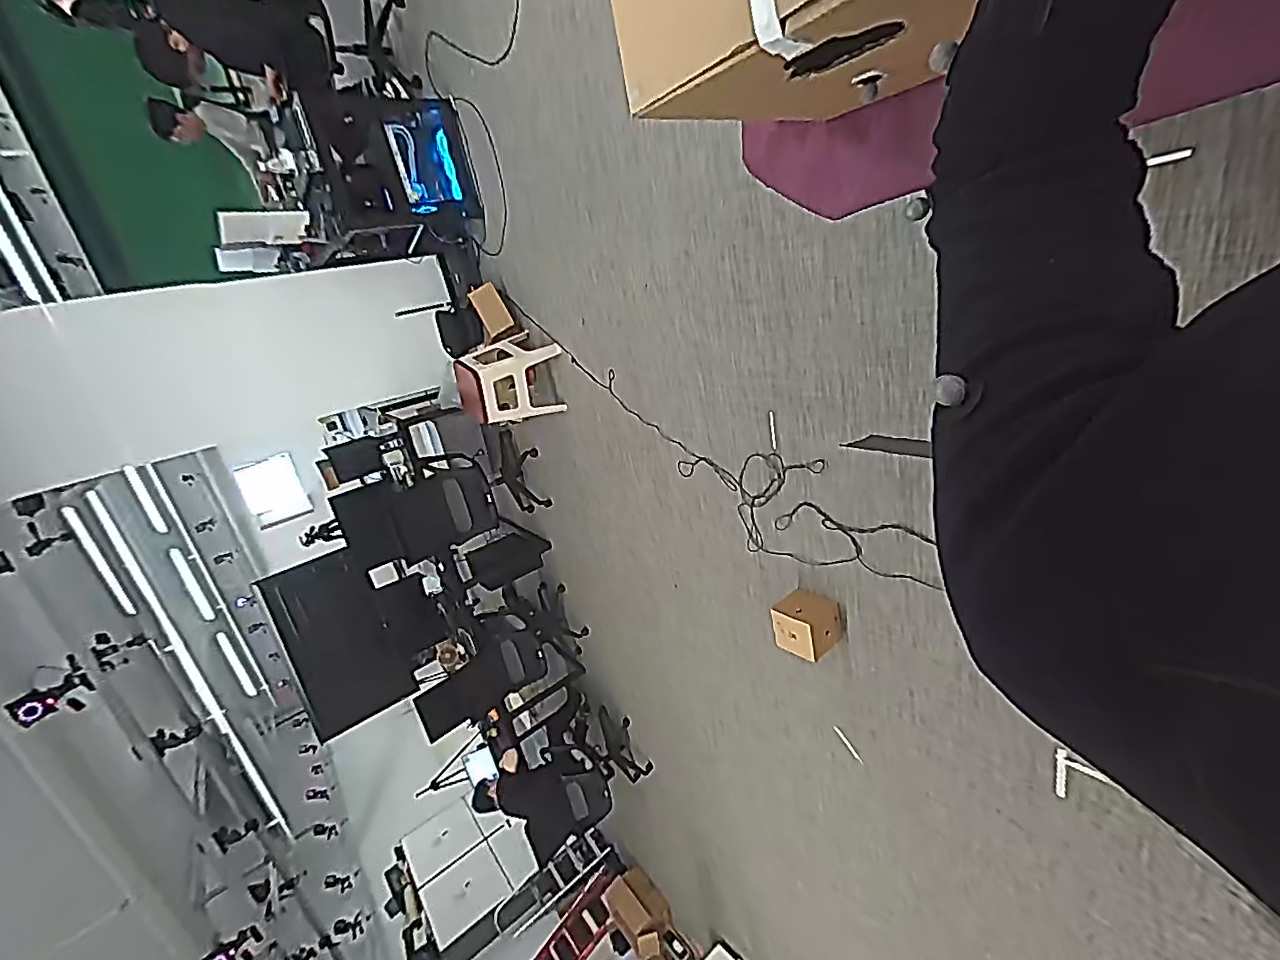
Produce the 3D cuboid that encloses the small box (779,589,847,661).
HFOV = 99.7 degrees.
[{"bbox_3d":[0.641,0.521,1.981,0.179,0.176,0.168,14,122,53],"label":"small box"}]
